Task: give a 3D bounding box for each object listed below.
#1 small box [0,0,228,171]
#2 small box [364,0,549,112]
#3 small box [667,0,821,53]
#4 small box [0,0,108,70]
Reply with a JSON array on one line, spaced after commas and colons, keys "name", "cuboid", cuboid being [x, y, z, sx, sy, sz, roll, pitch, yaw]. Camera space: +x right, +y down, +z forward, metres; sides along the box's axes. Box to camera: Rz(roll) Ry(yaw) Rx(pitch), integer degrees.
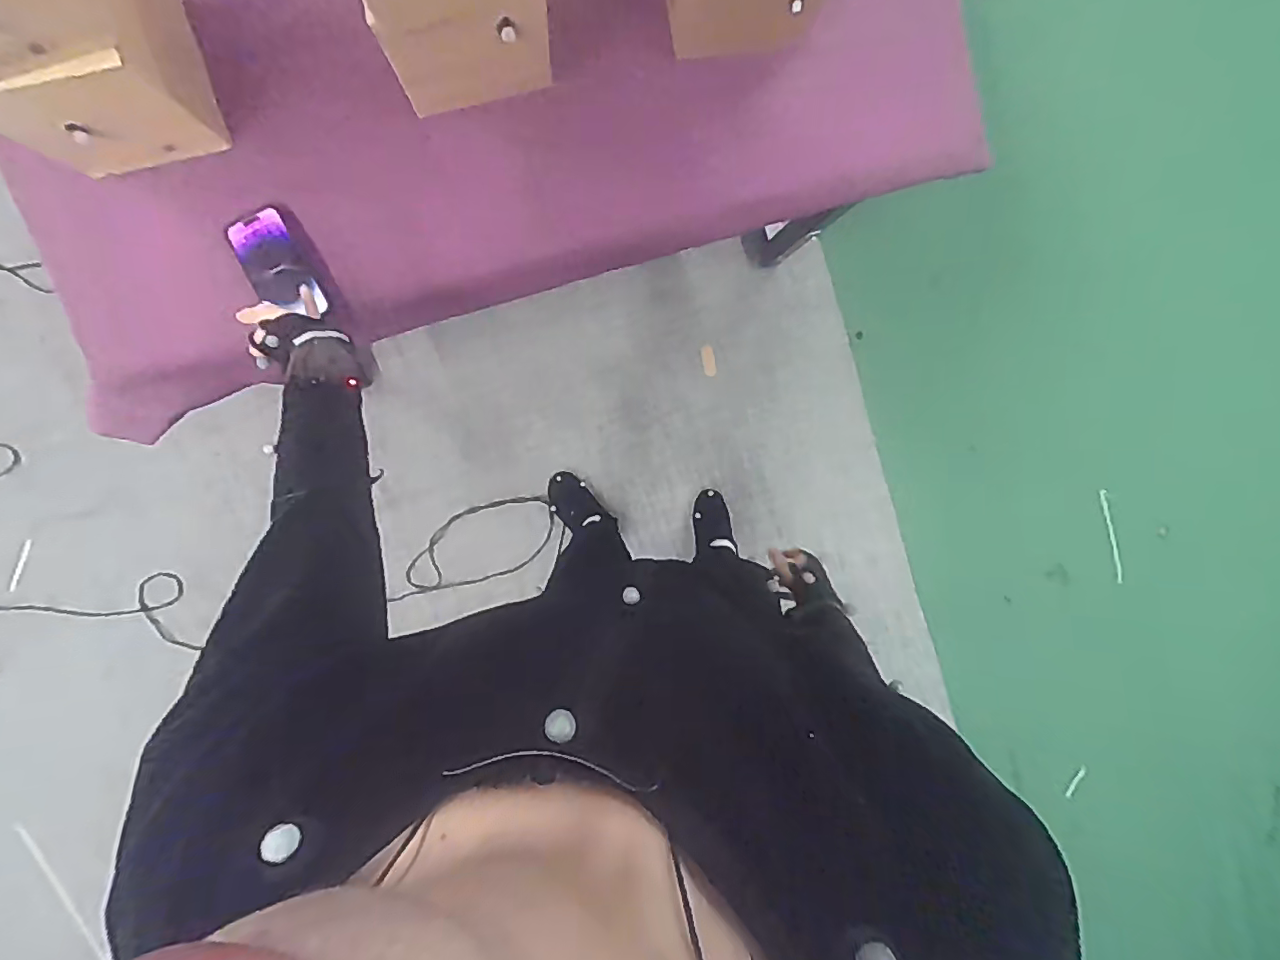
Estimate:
[{"name": "small box", "cuboid": [-0.581, -0.449, 0.559, 0.168, 0.176, 0.179, -17, 98, -4]}, {"name": "small box", "cuboid": [-0.203, -0.543, 0.585, 0.179, 0.176, 0.168, -17, 98, -3]}, {"name": "small box", "cuboid": [0.126, -0.630, 0.610, 0.179, 0.176, 0.168, -11, 97, -4]}, {"name": "small box", "cuboid": [-0.568, -0.438, 0.395, 0.168, 0.176, 0.179, -22, 99, -4]}]
